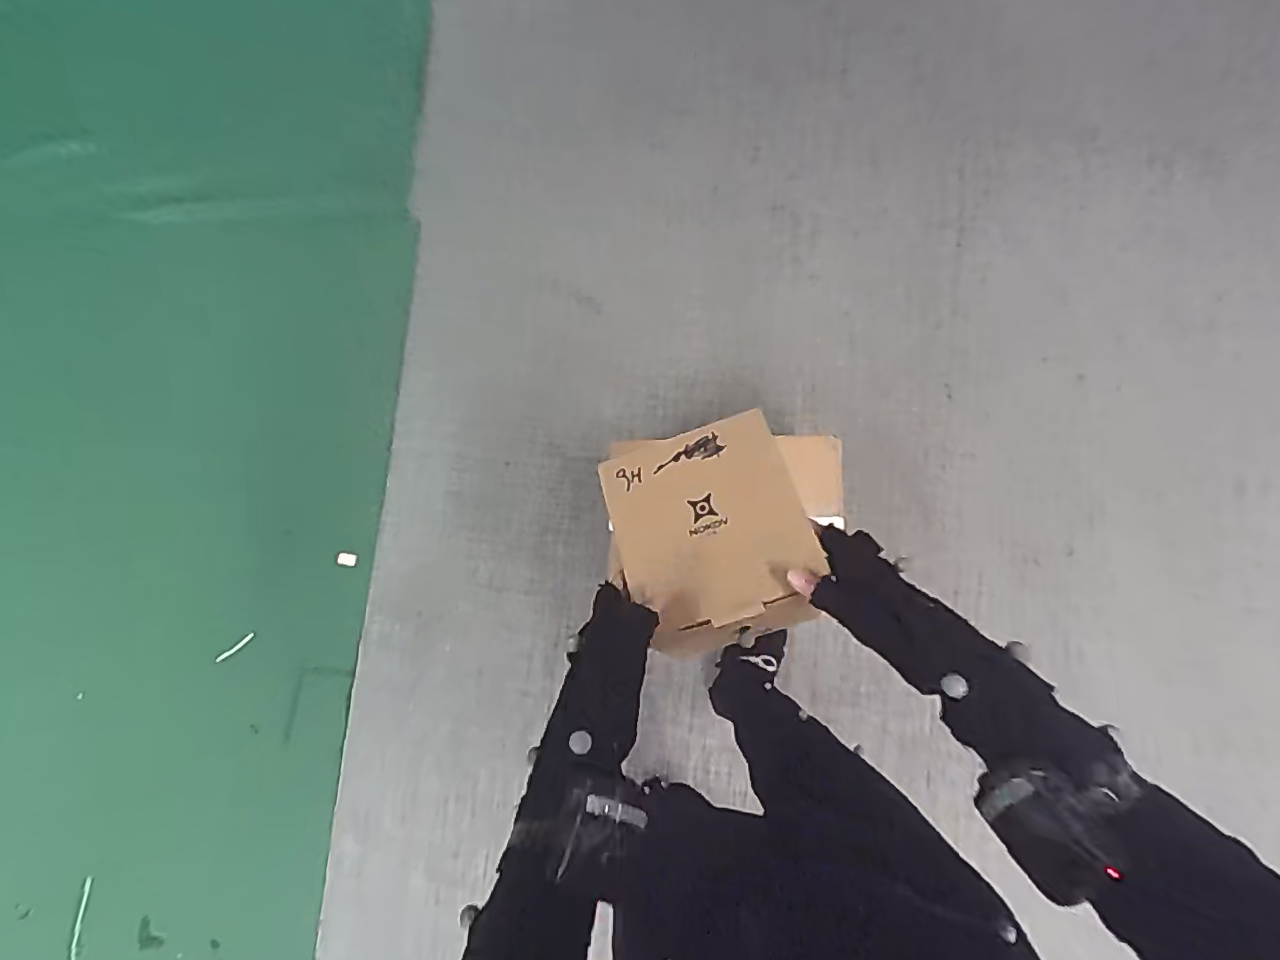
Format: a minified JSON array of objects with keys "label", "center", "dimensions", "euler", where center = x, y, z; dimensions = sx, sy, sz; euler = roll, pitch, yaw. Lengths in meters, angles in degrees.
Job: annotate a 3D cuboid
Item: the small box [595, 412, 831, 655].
[{"label":"small box","center":[0.074,0.067,0.539],"dimensions":[0.168,0.176,0.179],"euler":[-20,65,6]}]
